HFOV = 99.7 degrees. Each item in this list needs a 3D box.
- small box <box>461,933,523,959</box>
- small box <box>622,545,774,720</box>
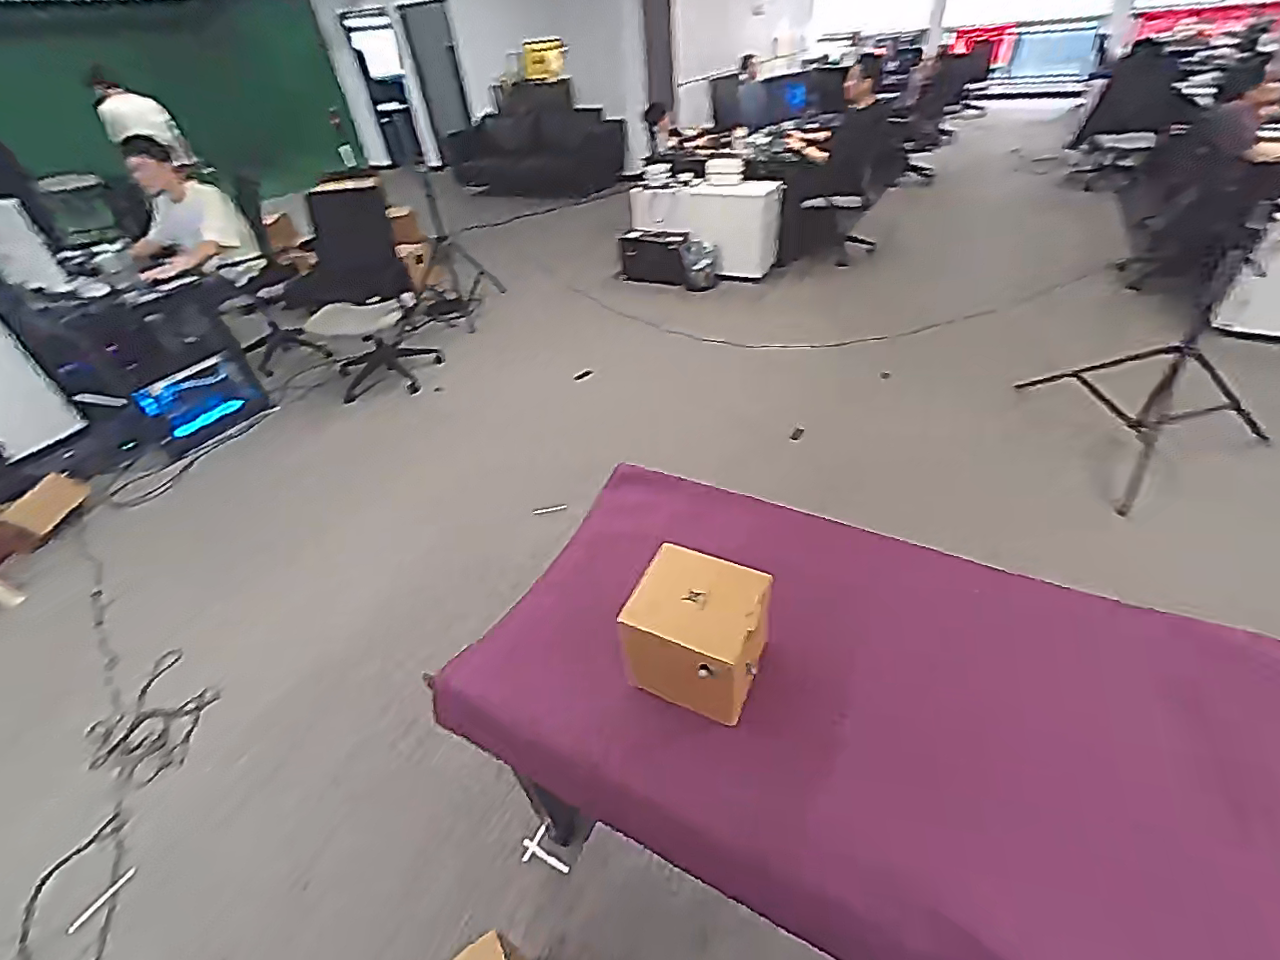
[{"bbox_3d":[-0.269,0.930,0.918,0.179,0.176,0.168,-26,44,-21],"label":"small box"},{"bbox_3d":[0.092,0.232,0.827,0.179,0.176,0.168,15,43,22],"label":"small box"}]
